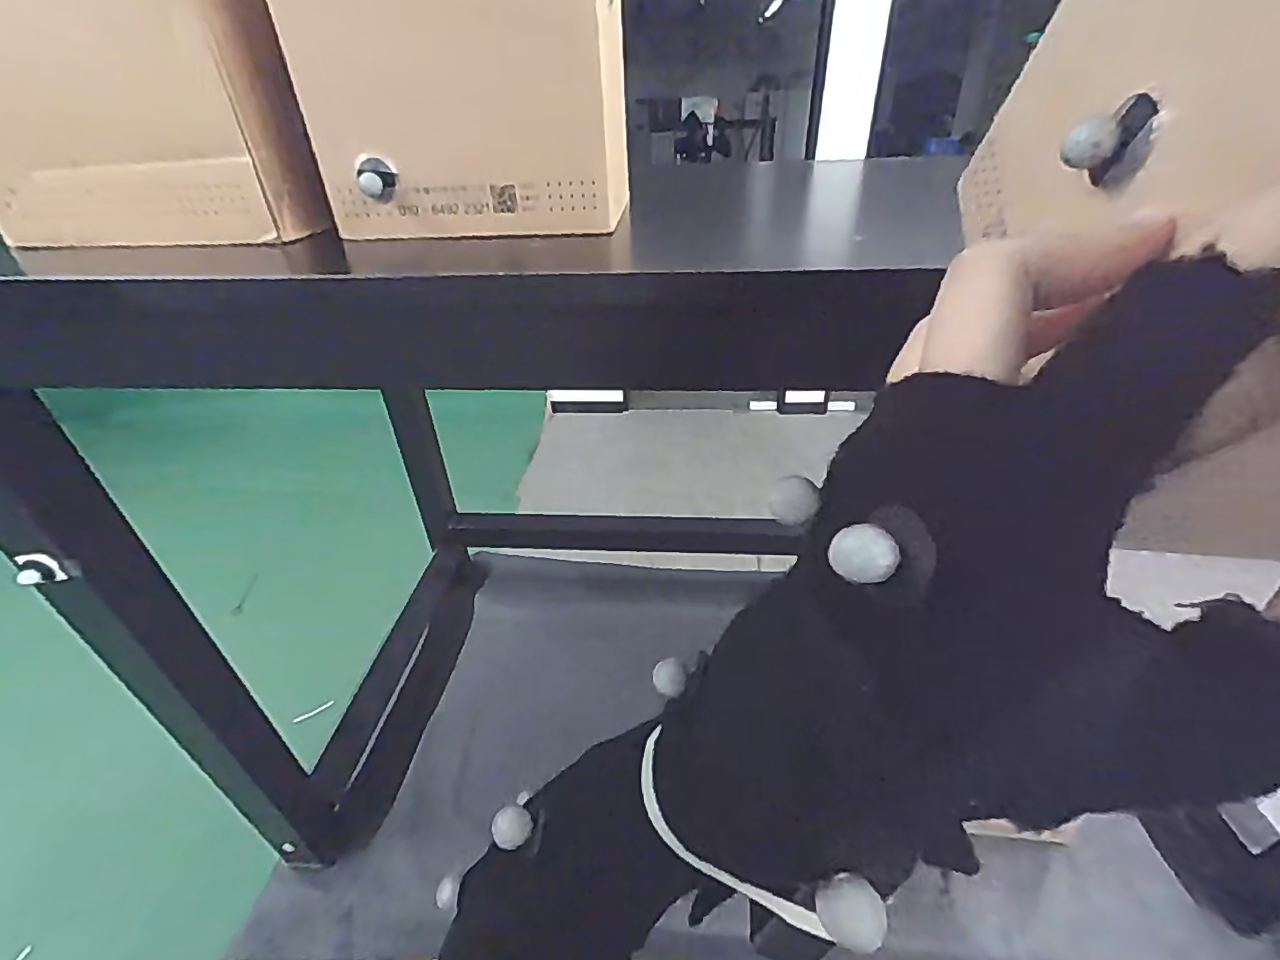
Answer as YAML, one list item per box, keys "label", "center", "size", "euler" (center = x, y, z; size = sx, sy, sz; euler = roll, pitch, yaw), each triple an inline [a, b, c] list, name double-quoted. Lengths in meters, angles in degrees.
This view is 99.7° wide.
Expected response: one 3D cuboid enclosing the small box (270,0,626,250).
- label: "small box"
  center: [-0.098, -0.251, 0.352]
  size: [0.168, 0.176, 0.179]
  euler: [0, 33, 3]
